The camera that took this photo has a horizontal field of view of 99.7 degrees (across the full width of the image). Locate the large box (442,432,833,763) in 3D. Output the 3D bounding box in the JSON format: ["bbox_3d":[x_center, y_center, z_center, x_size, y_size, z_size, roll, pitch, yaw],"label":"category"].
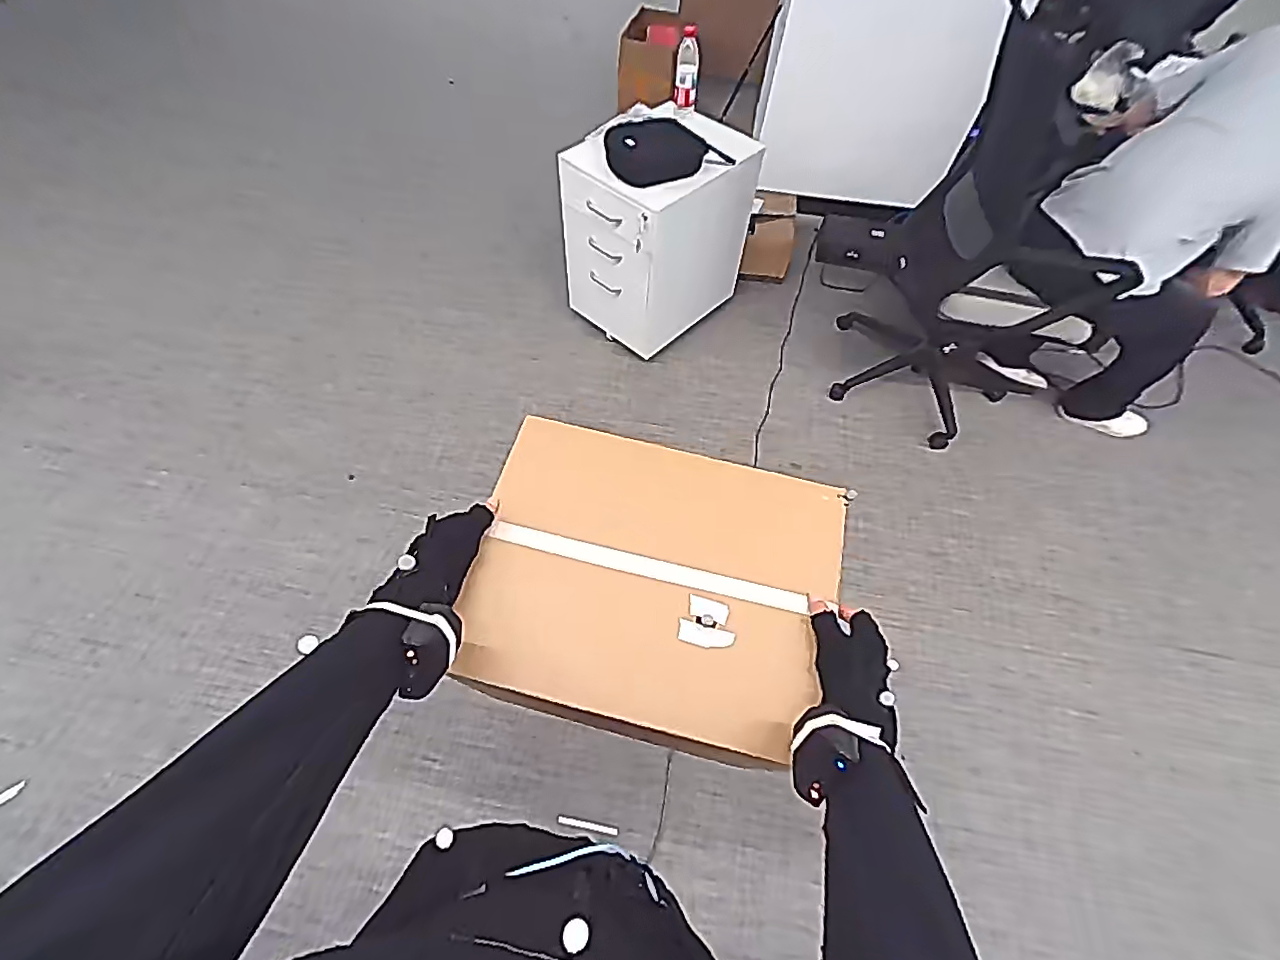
[{"bbox_3d":[0.006,0.178,0.751,0.408,0.320,0.320,14,64,3],"label":"large box"}]
